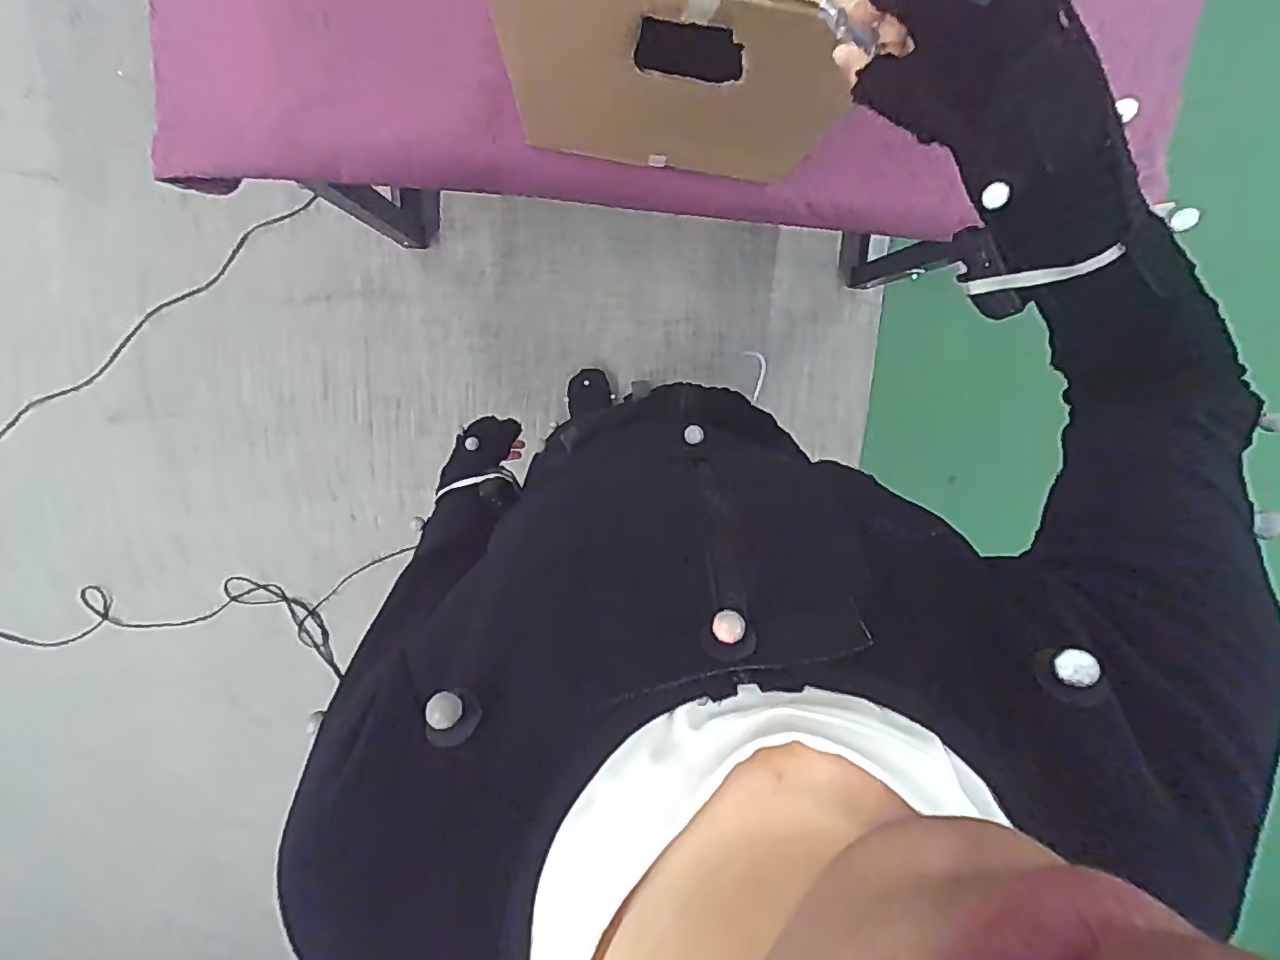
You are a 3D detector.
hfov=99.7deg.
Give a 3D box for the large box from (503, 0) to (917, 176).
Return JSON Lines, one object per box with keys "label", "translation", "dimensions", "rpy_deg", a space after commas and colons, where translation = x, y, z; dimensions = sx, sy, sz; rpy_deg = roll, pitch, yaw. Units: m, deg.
{"label": "large box", "translation": [0.054, -0.559, 0.488], "dimensions": [0.320, 0.320, 0.408], "rpy_deg": [5, 102, -5]}
